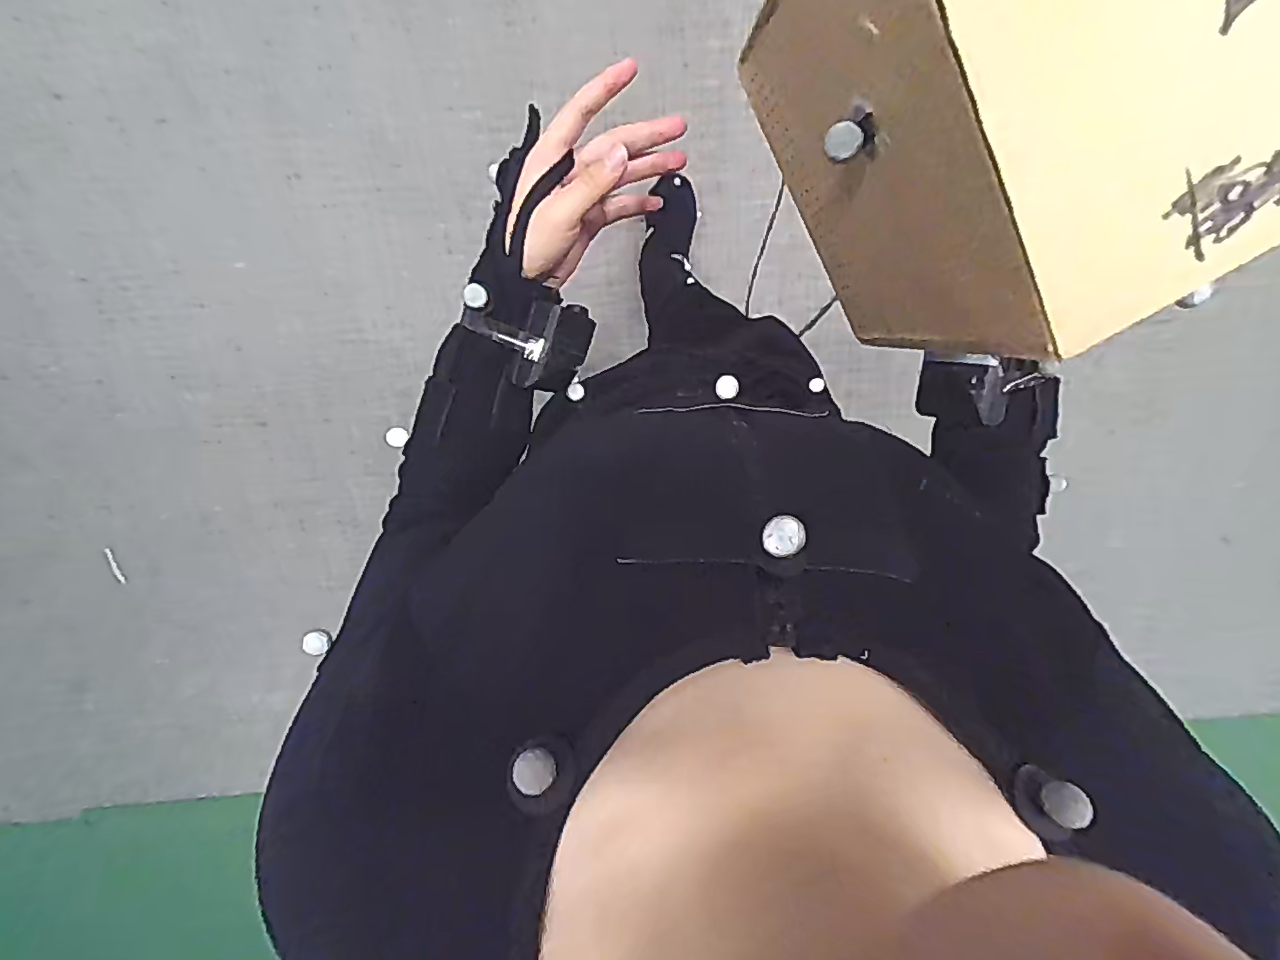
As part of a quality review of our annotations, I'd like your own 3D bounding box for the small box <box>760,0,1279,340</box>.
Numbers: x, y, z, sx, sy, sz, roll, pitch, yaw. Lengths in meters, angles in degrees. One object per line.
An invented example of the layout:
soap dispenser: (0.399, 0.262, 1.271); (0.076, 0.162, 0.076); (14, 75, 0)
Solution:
small box: (0.174, -0.176, 0.240); (0.168, 0.176, 0.179); (-30, 103, 8)
